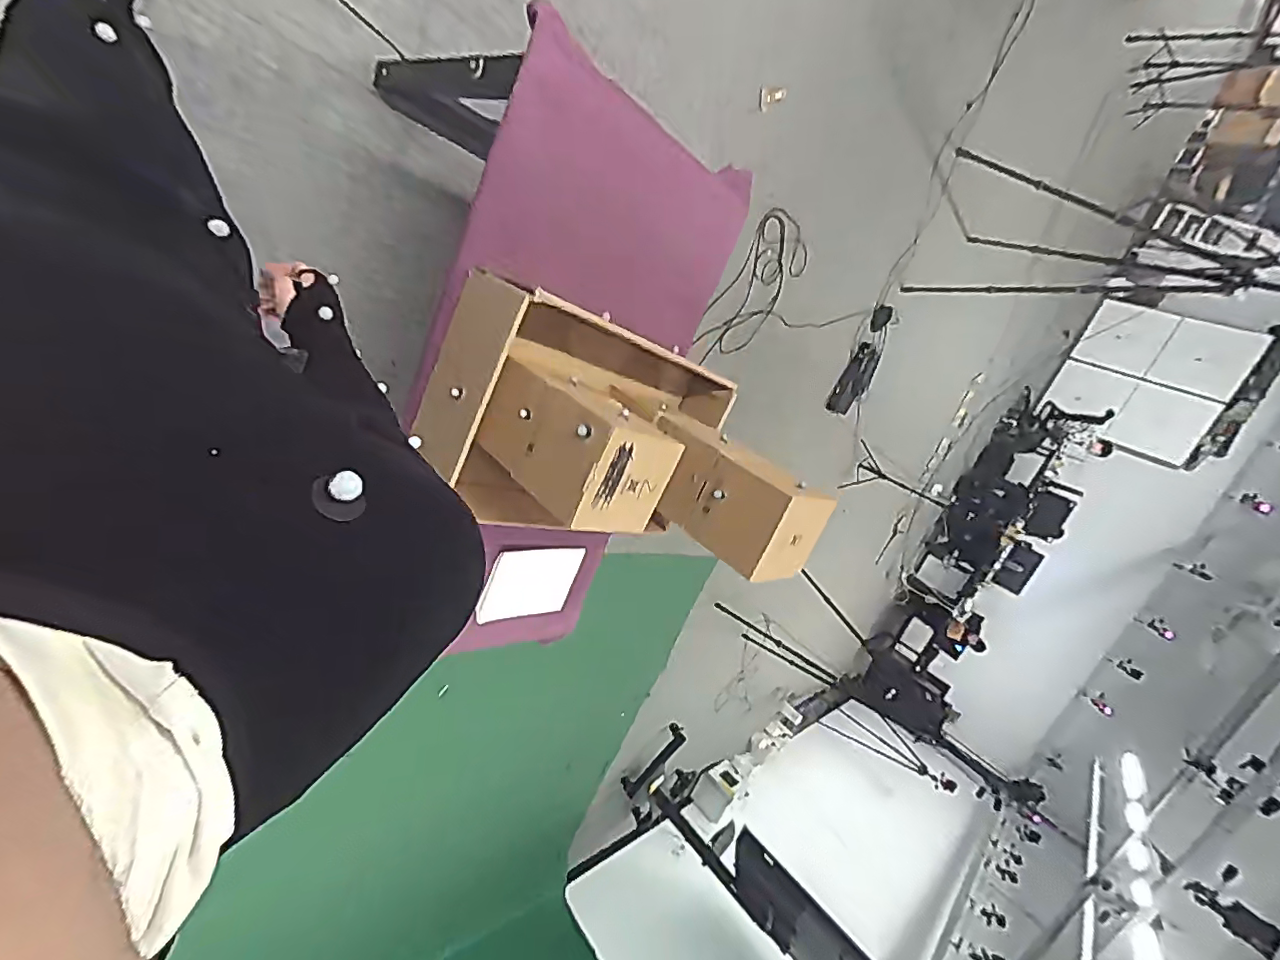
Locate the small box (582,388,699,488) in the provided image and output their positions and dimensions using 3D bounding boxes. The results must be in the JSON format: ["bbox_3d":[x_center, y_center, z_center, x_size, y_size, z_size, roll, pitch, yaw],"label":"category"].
[{"bbox_3d":[0.007,-0.088,1.186,0.179,0.176,0.168,8,112,-47],"label":"small box"}]

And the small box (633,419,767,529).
[{"bbox_3d":[0.115,-0.011,1.090,0.179,0.176,0.168,6,114,-48],"label":"small box"}]

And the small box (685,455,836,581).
[{"bbox_3d":[0.216,0.066,0.989,0.179,0.176,0.168,7,112,-47],"label":"small box"}]
